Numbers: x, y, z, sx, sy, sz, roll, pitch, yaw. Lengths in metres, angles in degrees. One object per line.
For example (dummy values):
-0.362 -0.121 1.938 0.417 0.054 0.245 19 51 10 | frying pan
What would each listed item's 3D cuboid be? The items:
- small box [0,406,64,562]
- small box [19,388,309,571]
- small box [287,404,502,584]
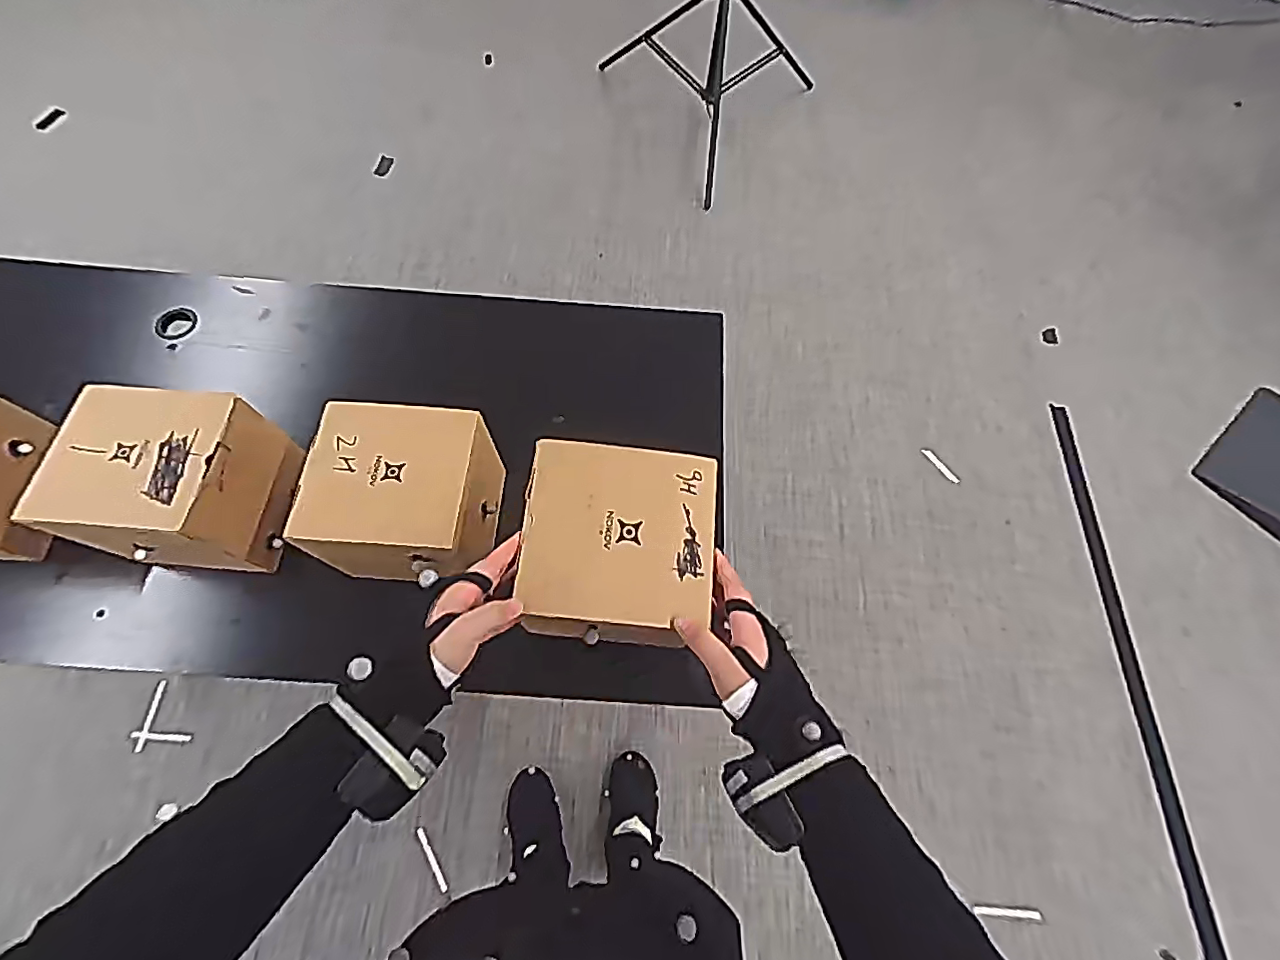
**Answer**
-0.840 -0.002 0.650 0.179 0.176 0.168 1 66 -1 | small box
-0.545 0.008 0.656 0.179 0.176 0.168 4 66 0 | small box
-0.276 0.025 0.659 0.179 0.176 0.168 3 66 -1 | small box
